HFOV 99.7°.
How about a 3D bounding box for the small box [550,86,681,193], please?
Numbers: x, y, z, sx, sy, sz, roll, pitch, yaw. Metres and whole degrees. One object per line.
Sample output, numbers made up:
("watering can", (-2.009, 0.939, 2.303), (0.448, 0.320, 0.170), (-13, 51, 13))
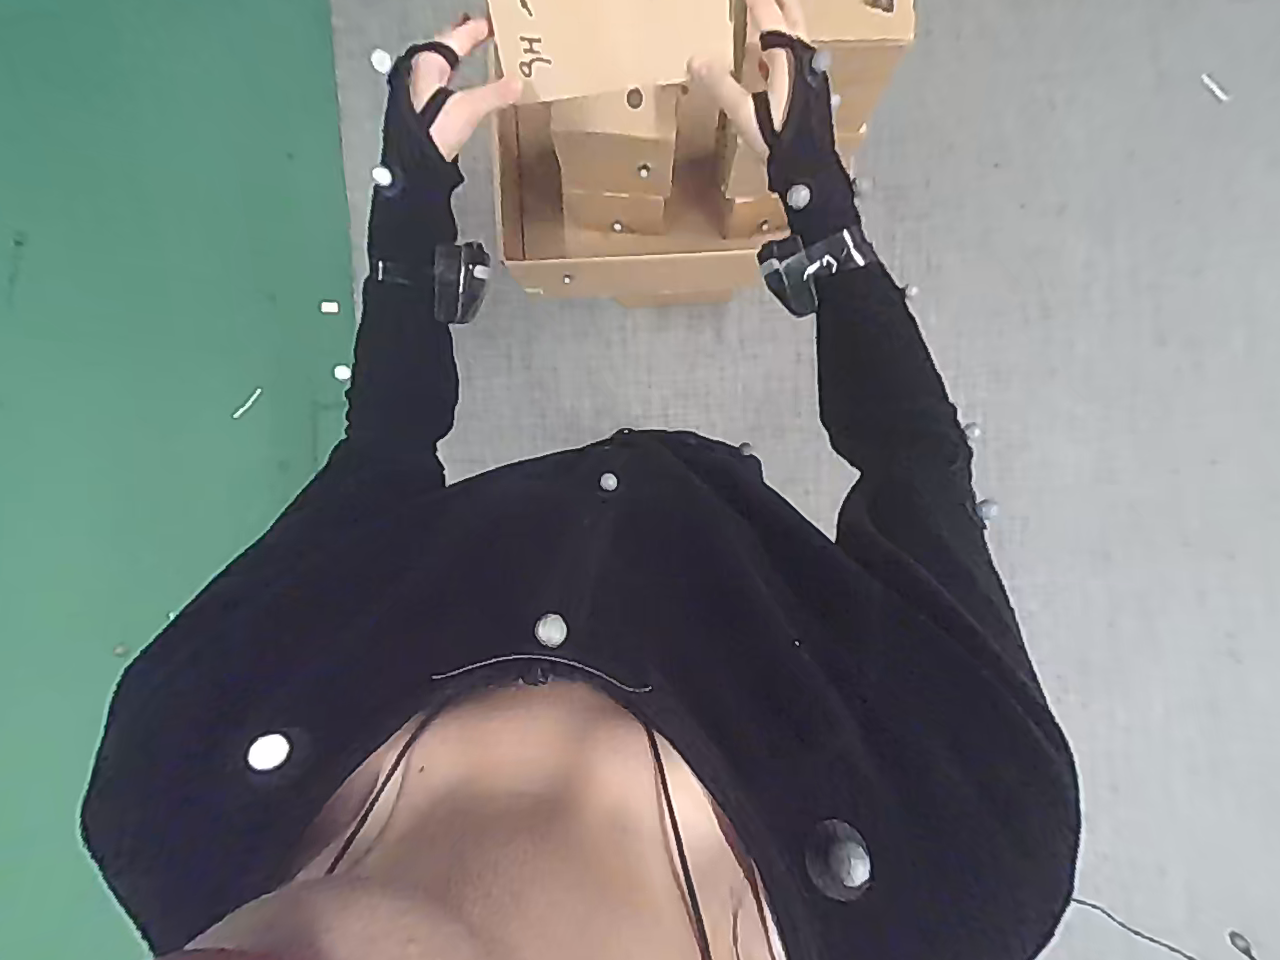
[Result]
("small box", (-0.030, -0.557, 0.815), (0.179, 0.176, 0.168), (4, 92, 1))

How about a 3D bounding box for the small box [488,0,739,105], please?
("small box", (-0.019, -0.404, 0.421), (0.179, 0.176, 0.168), (-3, 126, 6))

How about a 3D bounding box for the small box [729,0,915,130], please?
("small box", (0.203, -0.542, 0.636), (0.179, 0.176, 0.168), (2, 94, 4))
